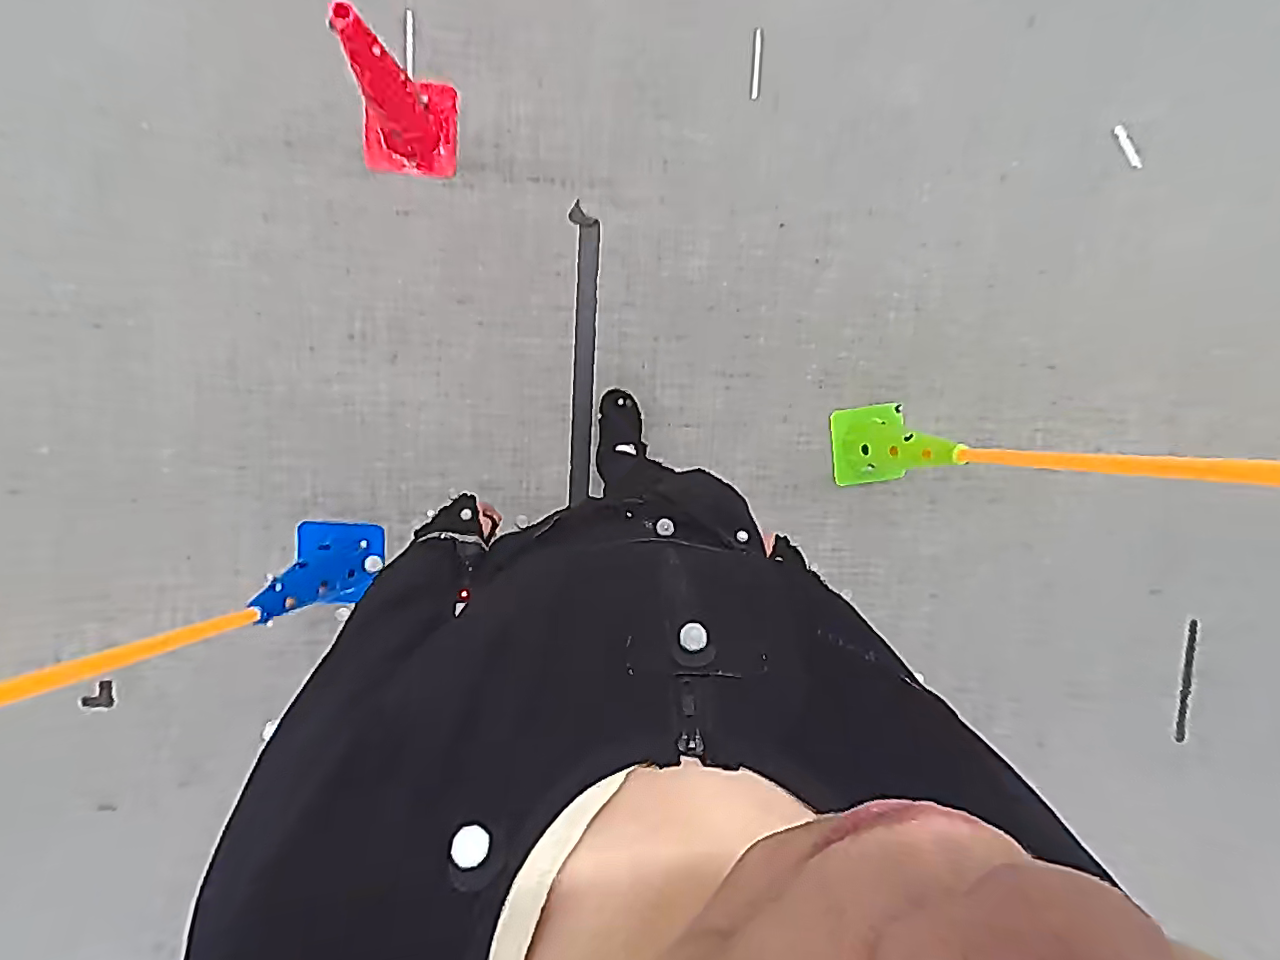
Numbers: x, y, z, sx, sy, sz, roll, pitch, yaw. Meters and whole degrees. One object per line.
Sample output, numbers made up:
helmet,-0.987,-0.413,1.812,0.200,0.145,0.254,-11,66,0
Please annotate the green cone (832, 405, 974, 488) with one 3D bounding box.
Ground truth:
green cone,0.620,-0.064,1.246,0.200,0.368,0.202,-9,99,-5

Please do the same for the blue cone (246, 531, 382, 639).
blue cone,-0.707,0.237,1.149,0.193,0.380,0.192,5,96,-6
